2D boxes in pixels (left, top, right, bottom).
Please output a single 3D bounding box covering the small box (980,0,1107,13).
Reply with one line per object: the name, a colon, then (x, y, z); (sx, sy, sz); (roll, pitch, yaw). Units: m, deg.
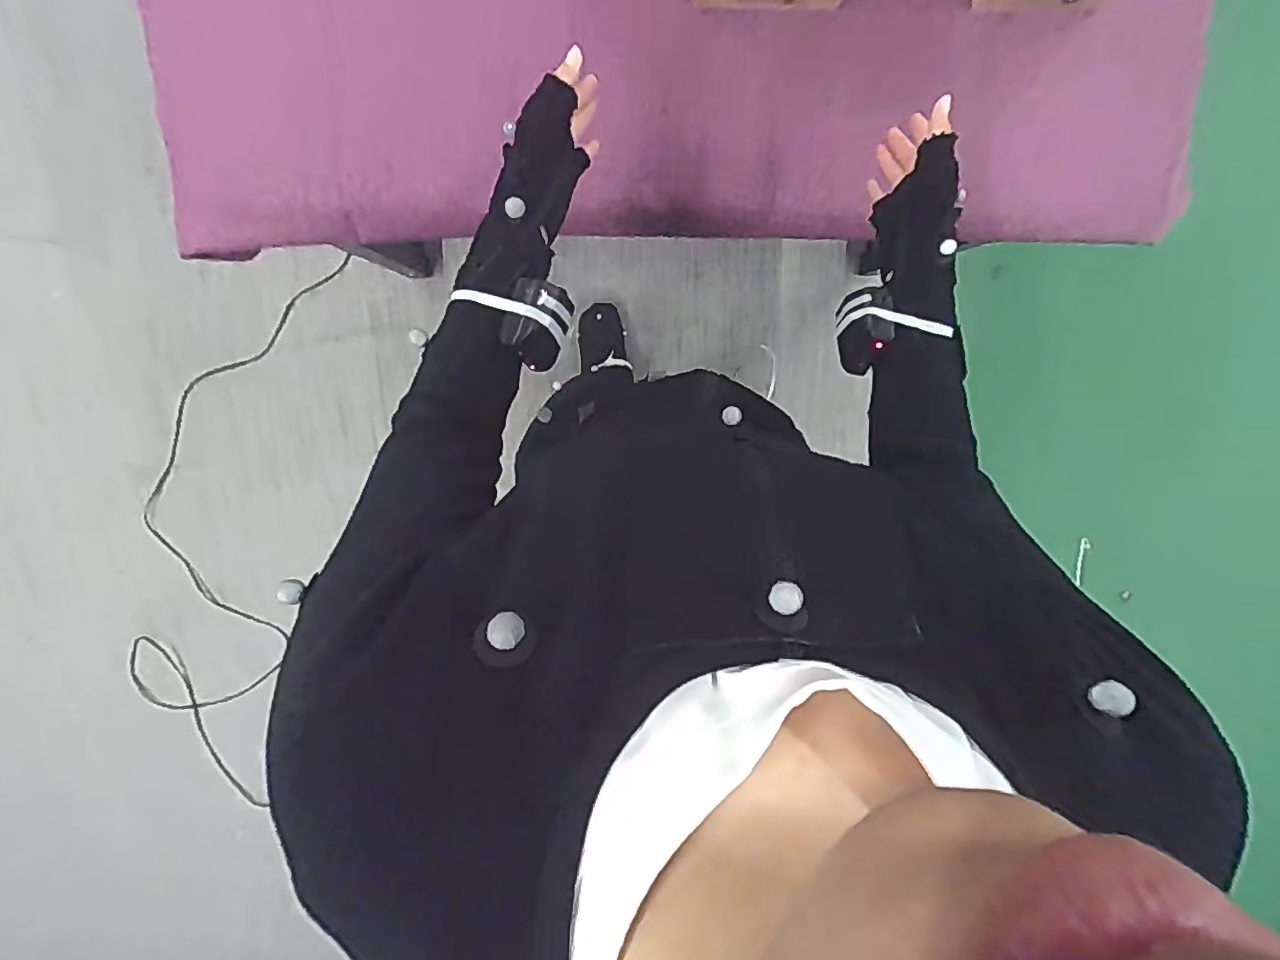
small box: (0.467, -0.617, 0.537); (0.168, 0.176, 0.179); (-5, 104, -3)
